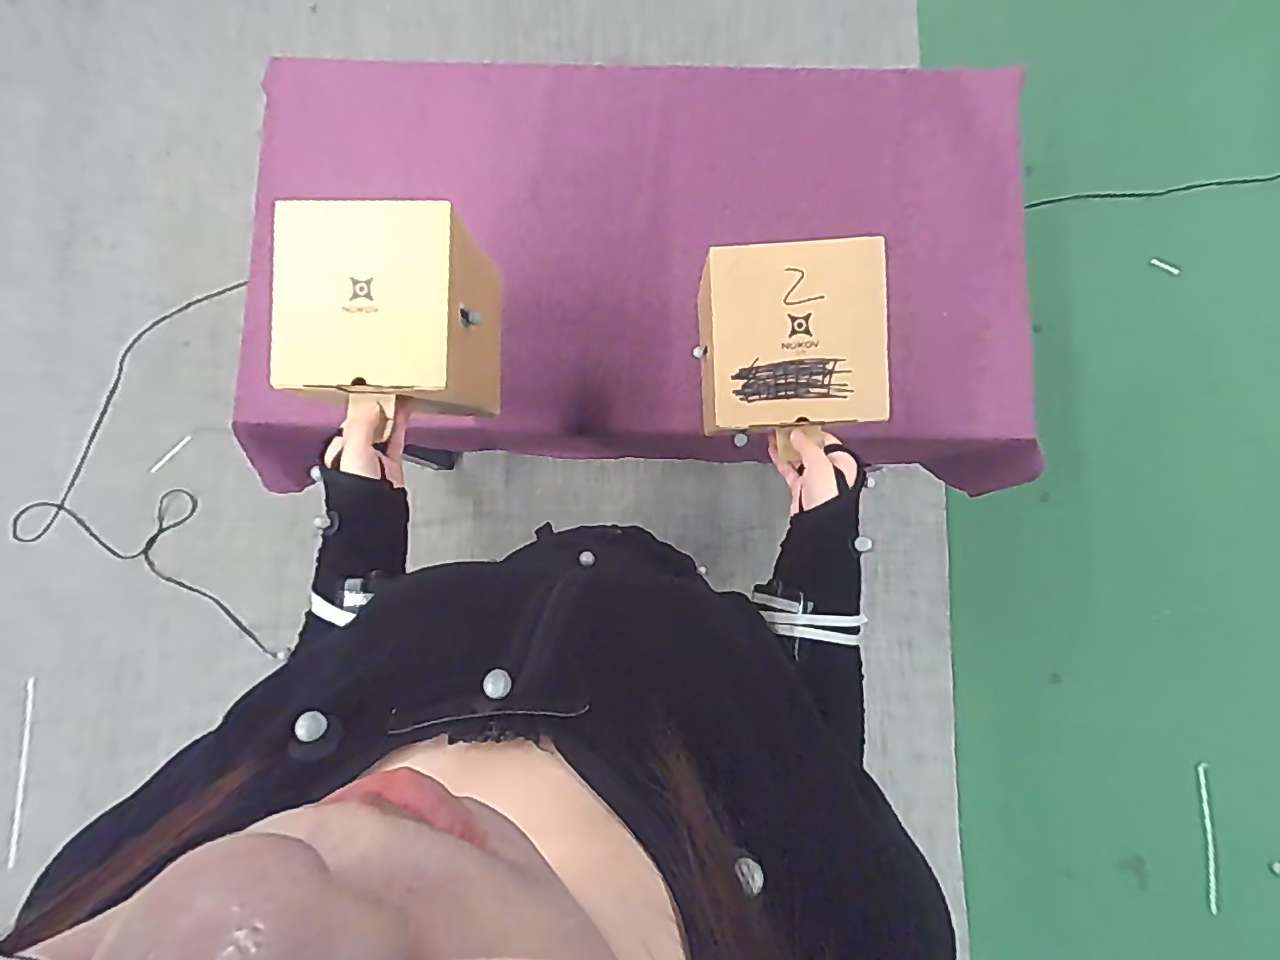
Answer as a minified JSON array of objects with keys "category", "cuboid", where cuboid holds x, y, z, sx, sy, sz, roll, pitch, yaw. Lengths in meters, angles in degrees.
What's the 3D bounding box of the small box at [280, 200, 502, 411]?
[{"category":"small box","cuboid":[-0.255,-0.176,0.591,0.168,0.176,0.179,1,90,1]}]
